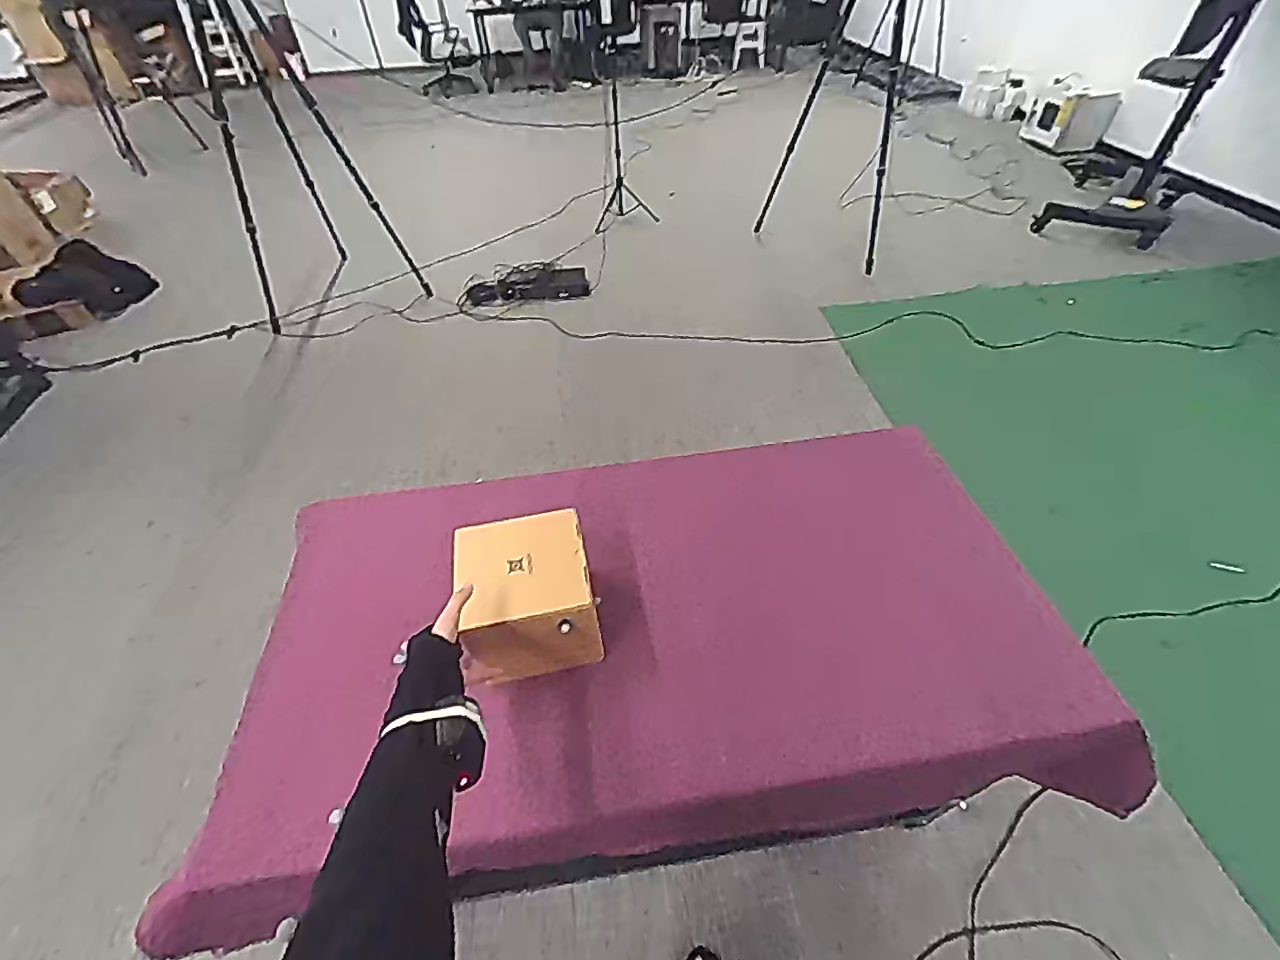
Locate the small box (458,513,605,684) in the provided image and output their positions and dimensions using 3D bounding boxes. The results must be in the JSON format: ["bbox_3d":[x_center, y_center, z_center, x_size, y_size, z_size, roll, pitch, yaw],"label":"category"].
[{"bbox_3d":[-0.155,0.176,0.790,0.179,0.176,0.168,-10,47,-8],"label":"small box"}]
